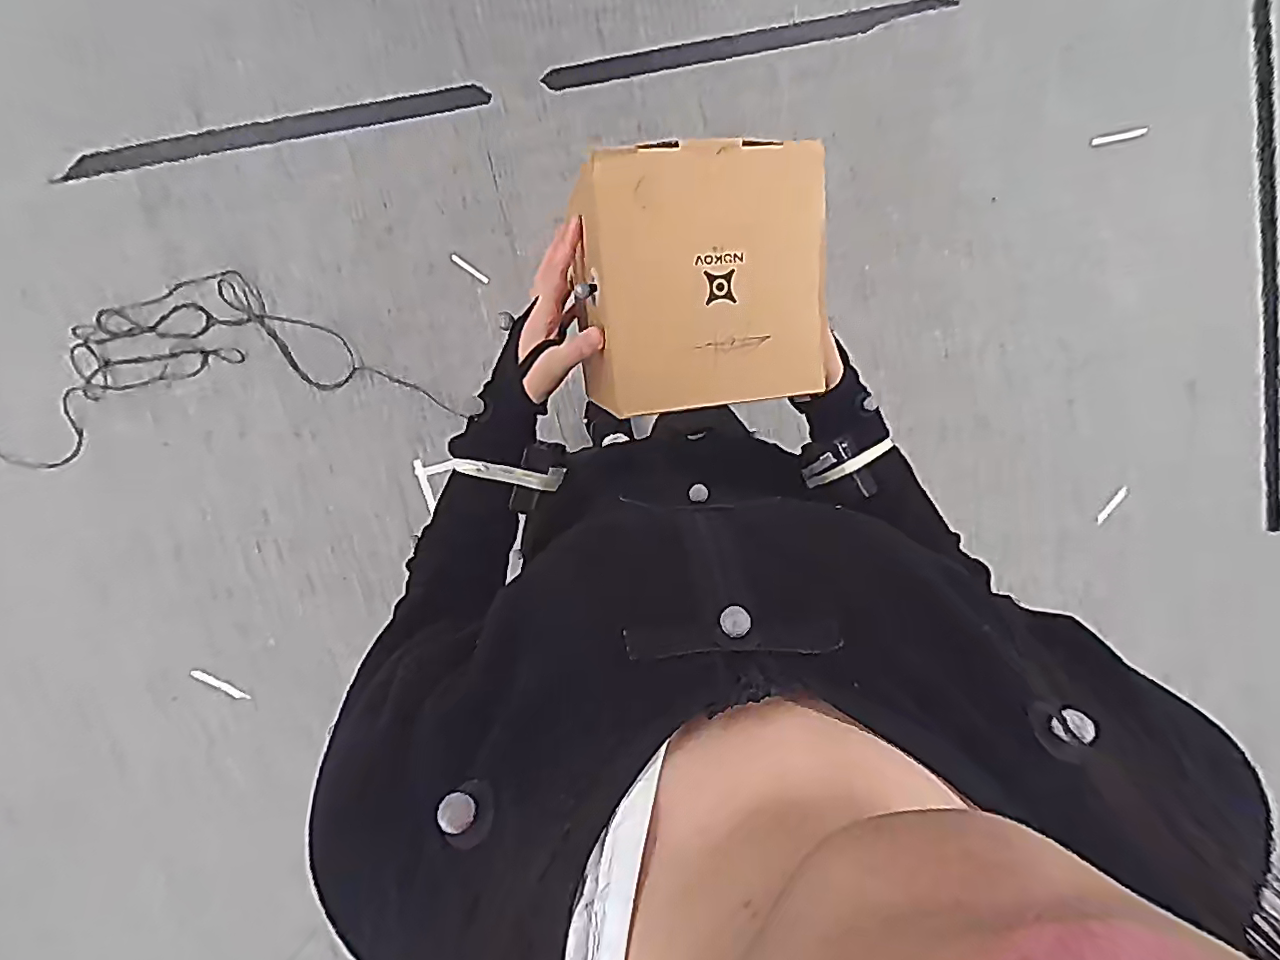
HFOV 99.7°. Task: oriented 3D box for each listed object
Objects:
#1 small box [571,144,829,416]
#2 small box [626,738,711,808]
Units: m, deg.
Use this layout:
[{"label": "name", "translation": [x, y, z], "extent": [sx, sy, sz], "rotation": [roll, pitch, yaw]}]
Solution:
[{"label": "small box", "translation": [0.039, -0.155, 0.454], "extent": [0.168, 0.176, 0.179], "rotation": [-8, 105, -12]}, {"label": "small box", "translation": [0.067, 0.699, 1.193], "extent": [0.168, 0.176, 0.179], "rotation": [-12, 99, -3]}]
